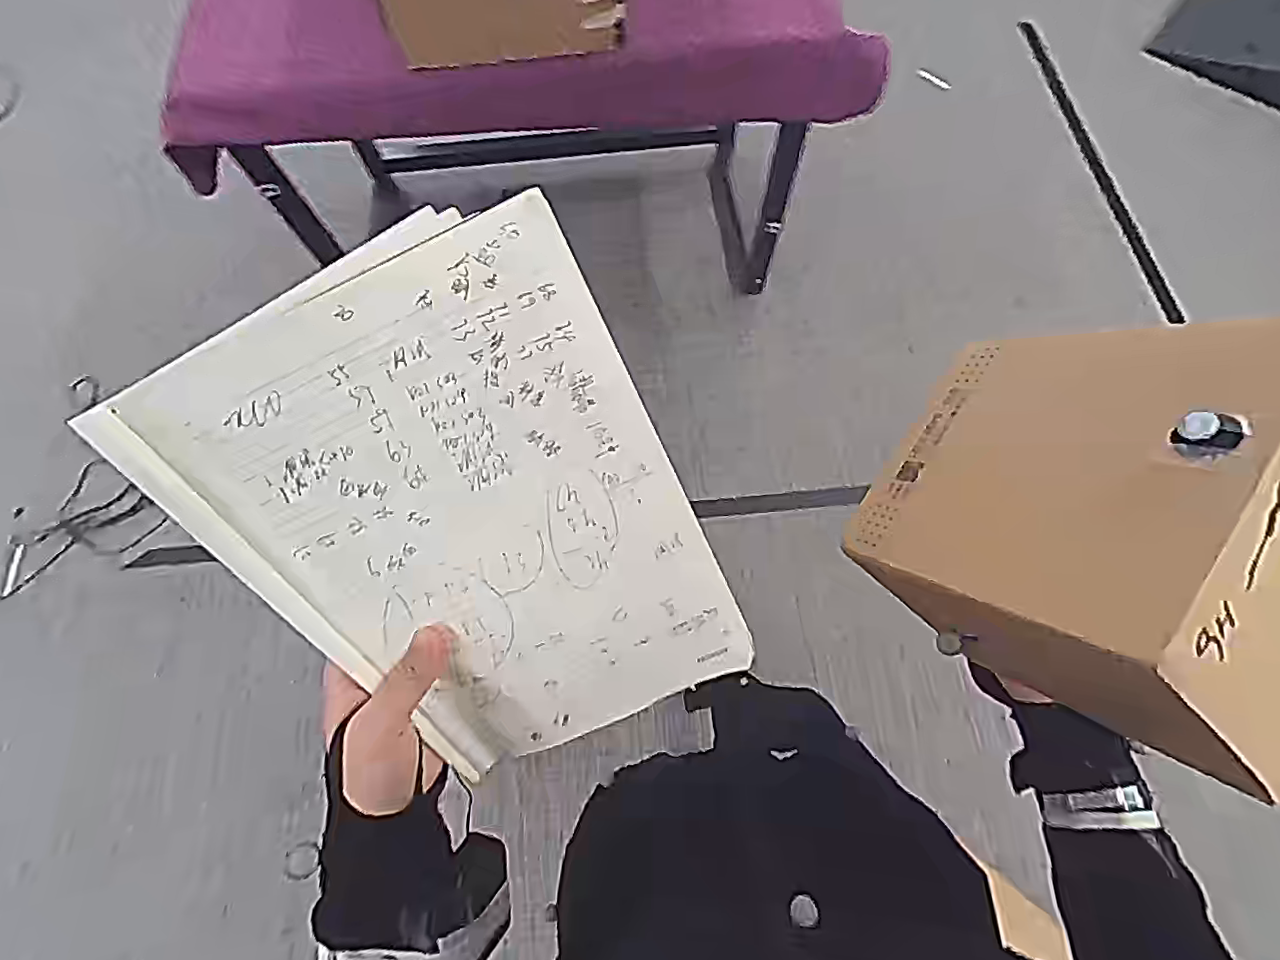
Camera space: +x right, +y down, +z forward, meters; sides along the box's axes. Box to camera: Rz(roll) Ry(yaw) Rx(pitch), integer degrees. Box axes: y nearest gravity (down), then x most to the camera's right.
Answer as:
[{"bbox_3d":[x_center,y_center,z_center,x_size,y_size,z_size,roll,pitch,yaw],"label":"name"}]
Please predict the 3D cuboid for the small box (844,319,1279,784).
[{"bbox_3d":[0.261,0.026,0.311,0.179,0.176,0.168,35,85,-25],"label":"small box"}]
